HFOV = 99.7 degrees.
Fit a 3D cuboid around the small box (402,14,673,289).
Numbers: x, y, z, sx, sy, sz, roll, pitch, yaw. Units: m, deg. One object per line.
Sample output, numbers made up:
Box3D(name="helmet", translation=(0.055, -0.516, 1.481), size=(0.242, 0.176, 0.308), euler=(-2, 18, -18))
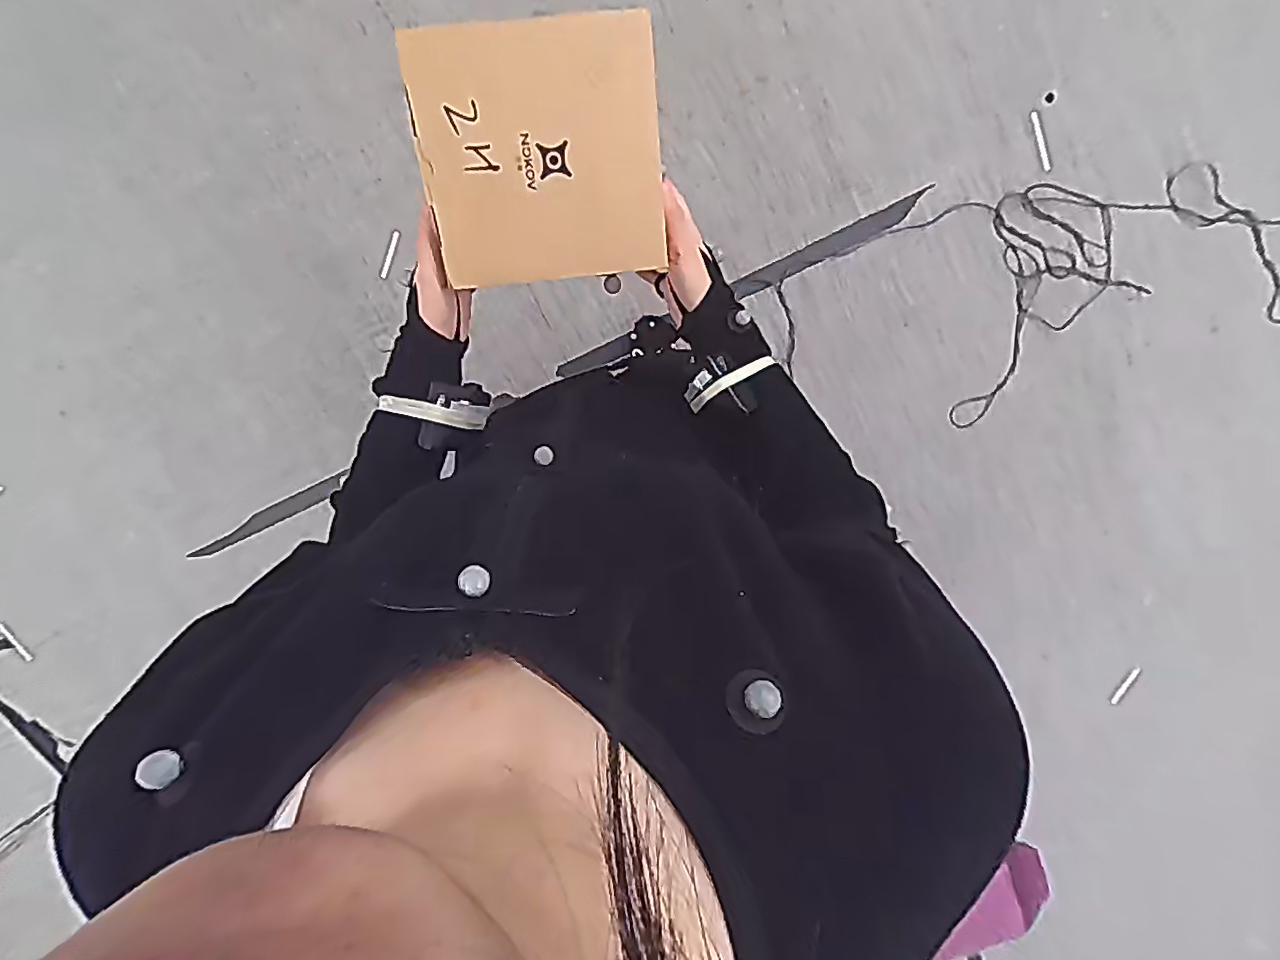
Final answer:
Box3D(name="small box", translation=(-0.073, -0.263, 0.465), size=(0.179, 0.176, 0.168), euler=(-6, 113, -2))
